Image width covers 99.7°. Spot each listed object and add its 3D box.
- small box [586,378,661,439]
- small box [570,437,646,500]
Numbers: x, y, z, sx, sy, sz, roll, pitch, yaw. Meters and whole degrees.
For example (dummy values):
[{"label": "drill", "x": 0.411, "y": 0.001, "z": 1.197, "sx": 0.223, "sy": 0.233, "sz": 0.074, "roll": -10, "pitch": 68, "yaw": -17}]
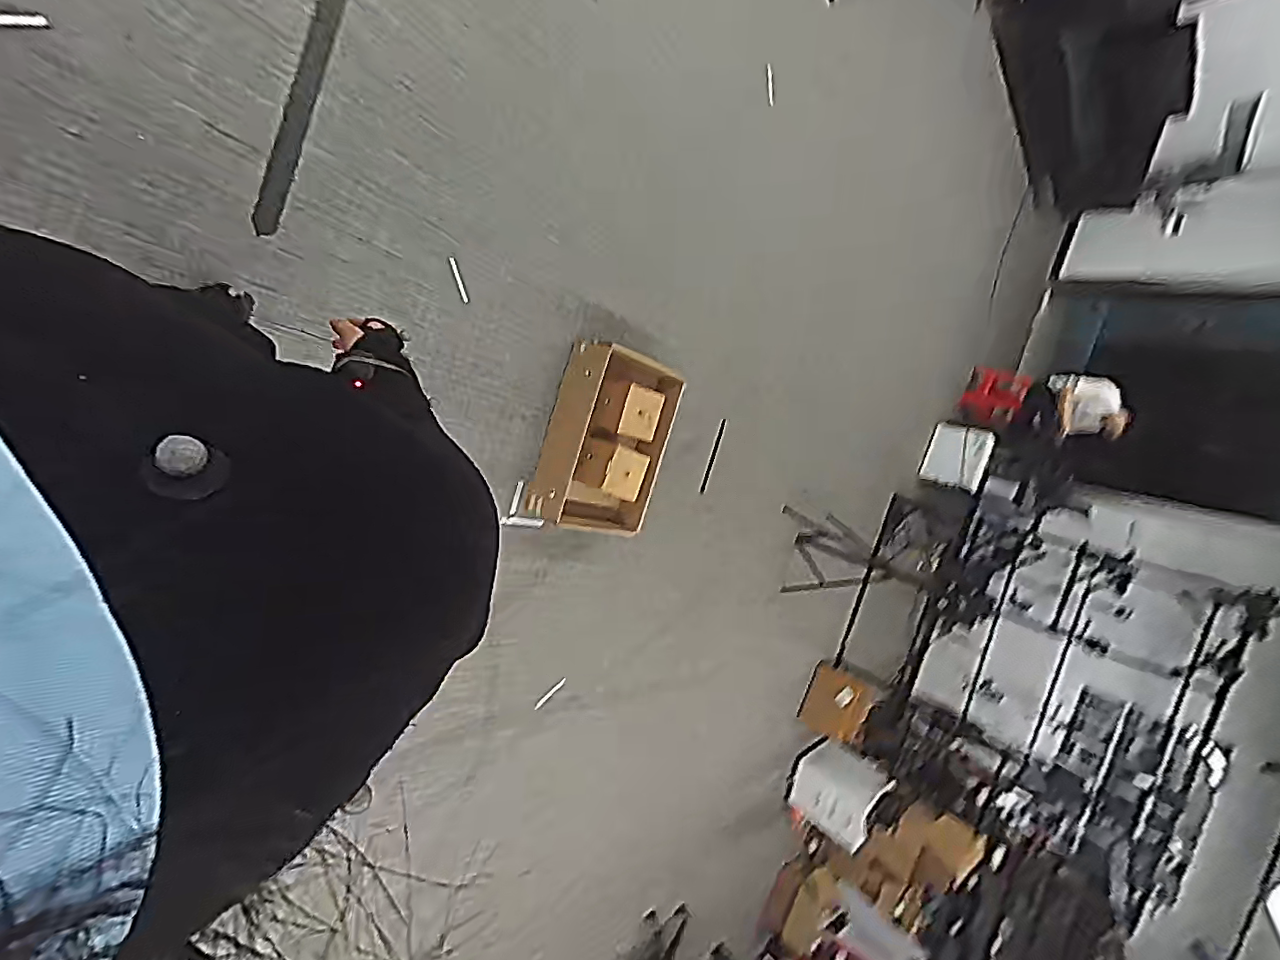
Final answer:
[{"label": "small box", "x": -0.062, "y": -0.253, "z": 1.891, "sx": 0.179, "sy": 0.176, "sz": 0.168, "roll": 11, "pitch": 99, "yaw": -47}, {"label": "small box", "x": -0.115, "y": -0.043, "z": 1.921, "sx": 0.179, "sy": 0.176, "sz": 0.168, "roll": 21, "pitch": 89, "yaw": -47}]
